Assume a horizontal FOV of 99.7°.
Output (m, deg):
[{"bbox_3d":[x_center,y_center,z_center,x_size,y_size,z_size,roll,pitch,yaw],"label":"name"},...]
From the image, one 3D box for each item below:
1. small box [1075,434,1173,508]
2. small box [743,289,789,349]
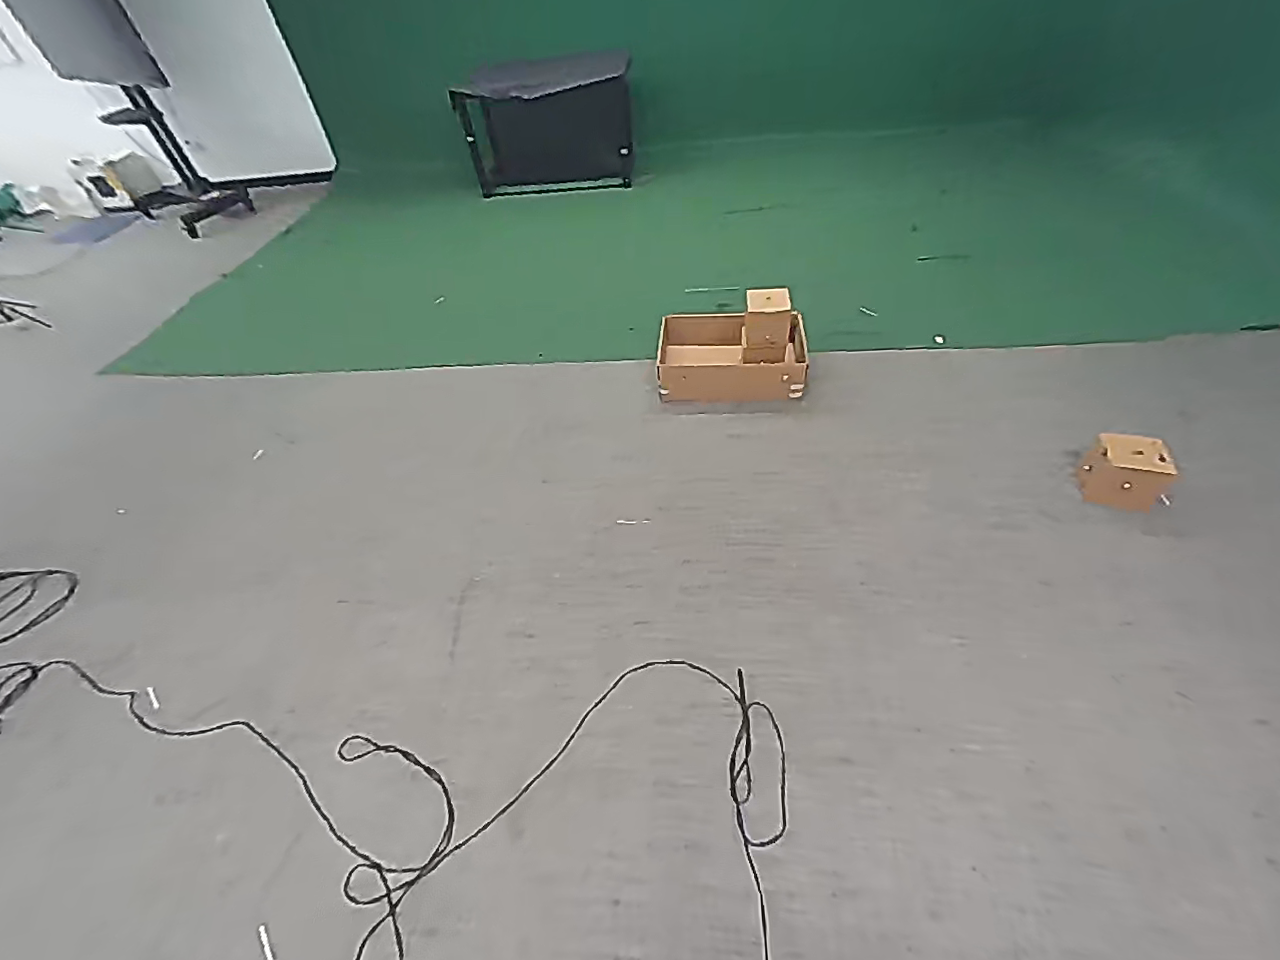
[{"bbox_3d":[1.567,-0.028,1.768,0.179,0.176,0.168,8,48,15],"label":"small box"},{"bbox_3d":[0.505,-0.652,2.191,0.168,0.176,0.179,-1,48,8],"label":"small box"}]
